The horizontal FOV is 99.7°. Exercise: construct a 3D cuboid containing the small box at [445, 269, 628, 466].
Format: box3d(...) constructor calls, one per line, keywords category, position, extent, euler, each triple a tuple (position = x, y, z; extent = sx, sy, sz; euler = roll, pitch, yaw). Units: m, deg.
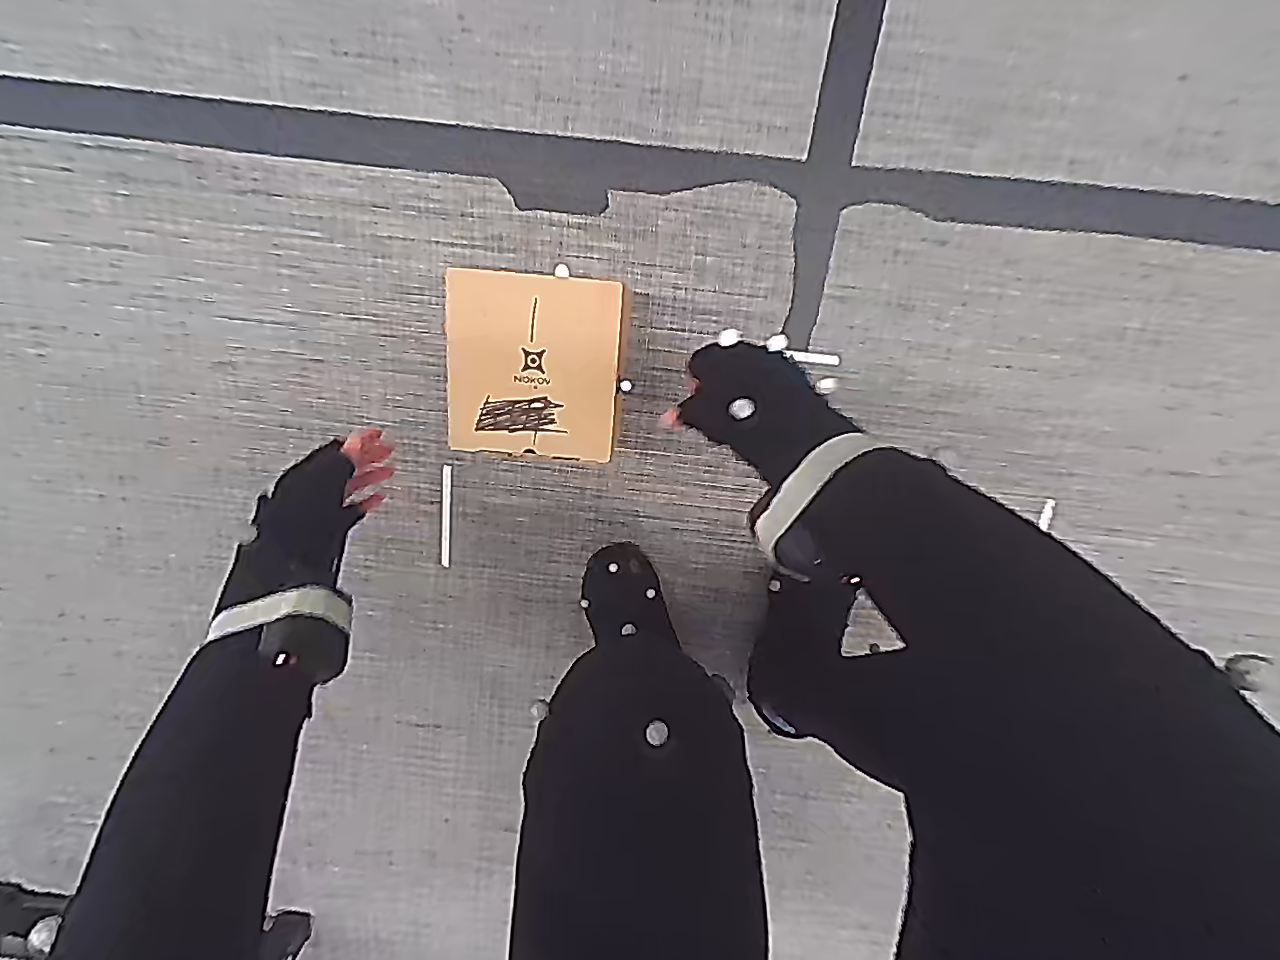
box3d(category="small box", position=(-0.103, -0.127, 0.598), extent=(0.168, 0.176, 0.179), euler=(5, 106, 0))
